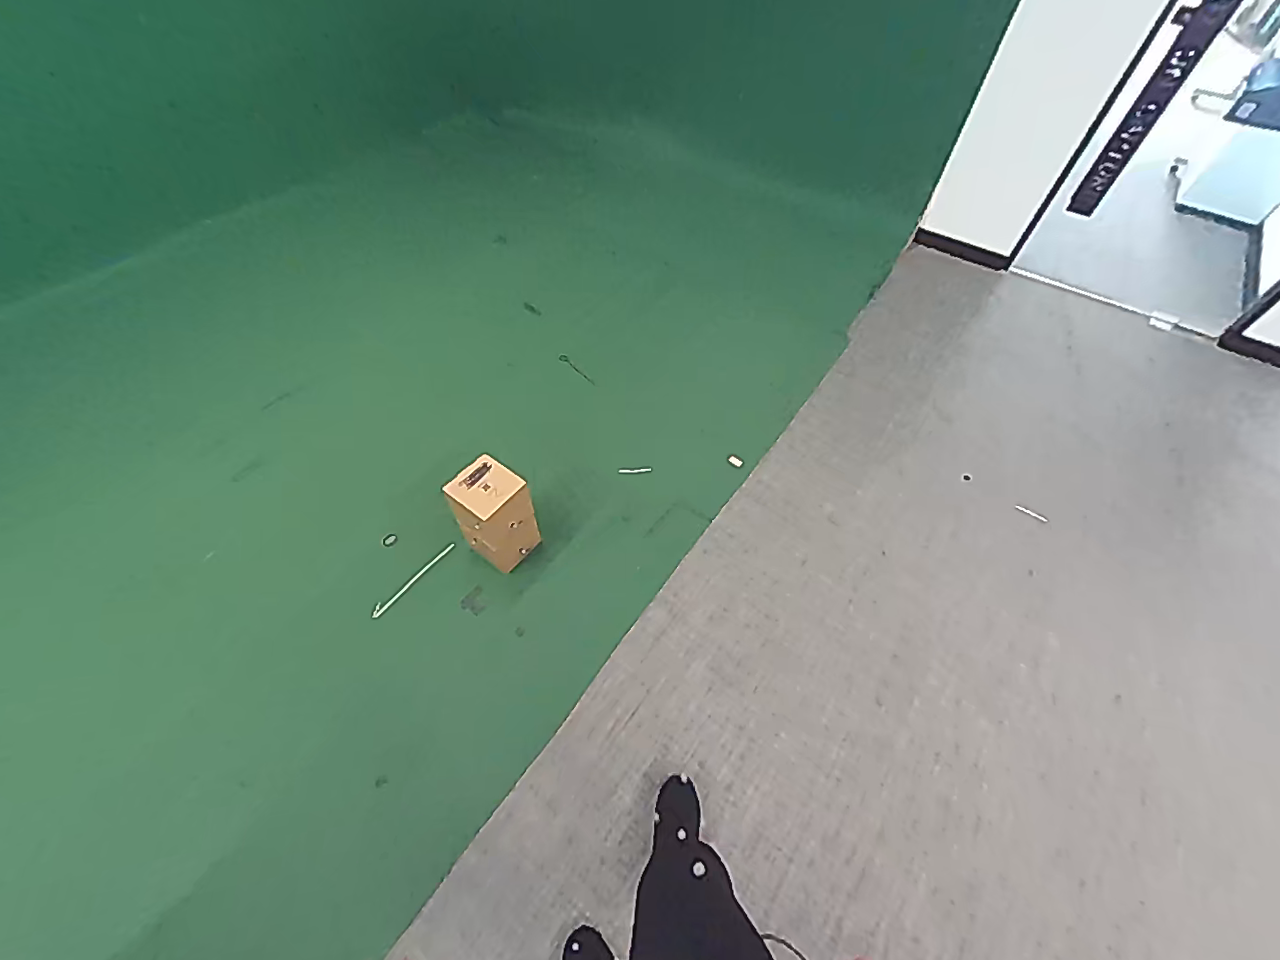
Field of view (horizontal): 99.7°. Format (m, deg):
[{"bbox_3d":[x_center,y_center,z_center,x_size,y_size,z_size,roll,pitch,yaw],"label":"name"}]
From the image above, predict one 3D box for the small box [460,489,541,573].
[{"bbox_3d":[-0.439,0.167,1.726,0.179,0.176,0.168,33,60,20],"label":"small box"}]
